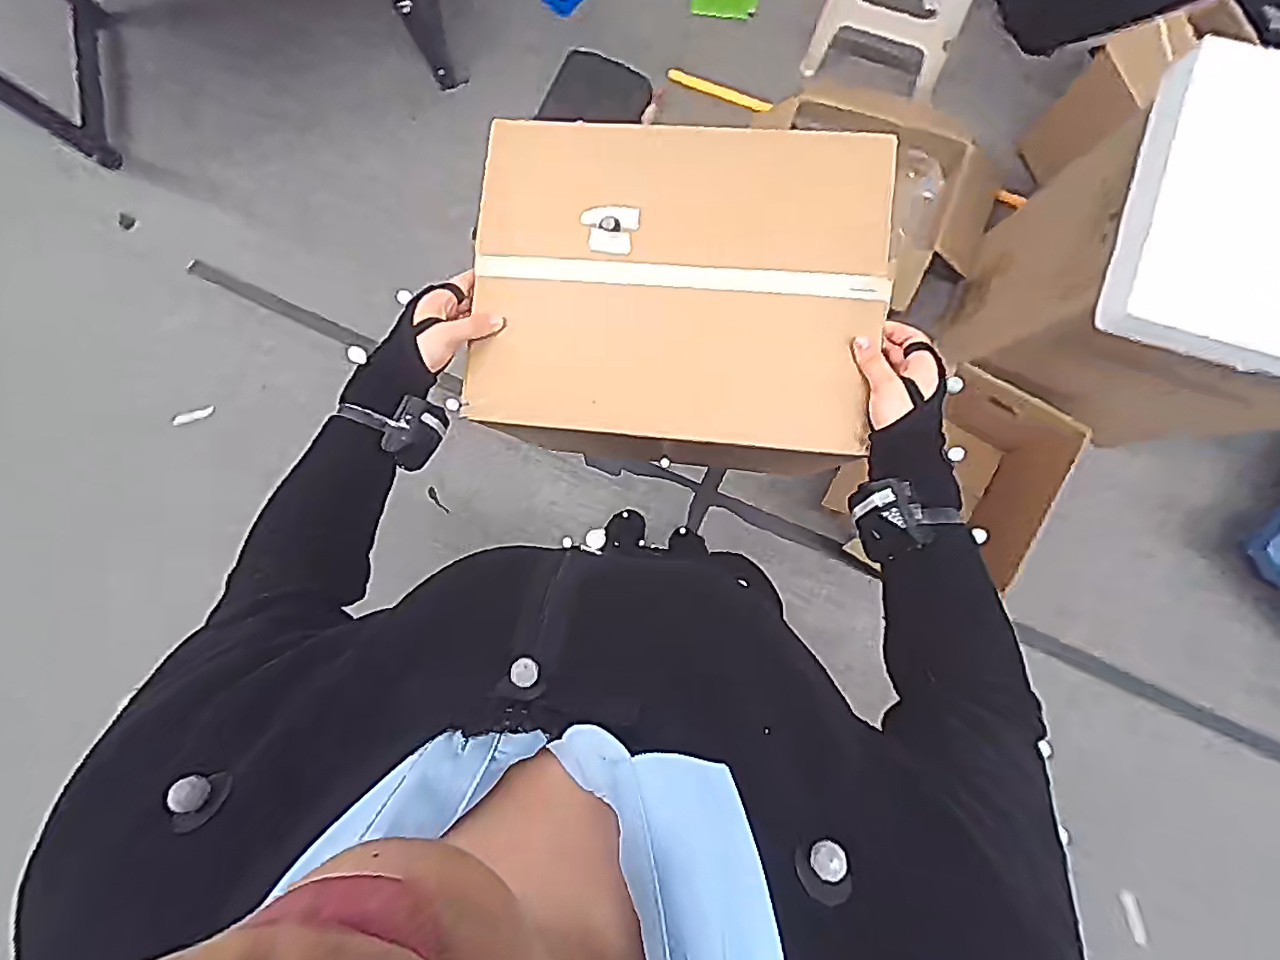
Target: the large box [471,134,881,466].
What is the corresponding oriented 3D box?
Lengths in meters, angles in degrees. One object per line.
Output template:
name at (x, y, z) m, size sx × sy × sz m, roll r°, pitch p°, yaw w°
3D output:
large box at (0.049, -0.190, 0.691) m, size 0.408 × 0.320 × 0.320 m, roll 5°, pitch 86°, yaw 7°
